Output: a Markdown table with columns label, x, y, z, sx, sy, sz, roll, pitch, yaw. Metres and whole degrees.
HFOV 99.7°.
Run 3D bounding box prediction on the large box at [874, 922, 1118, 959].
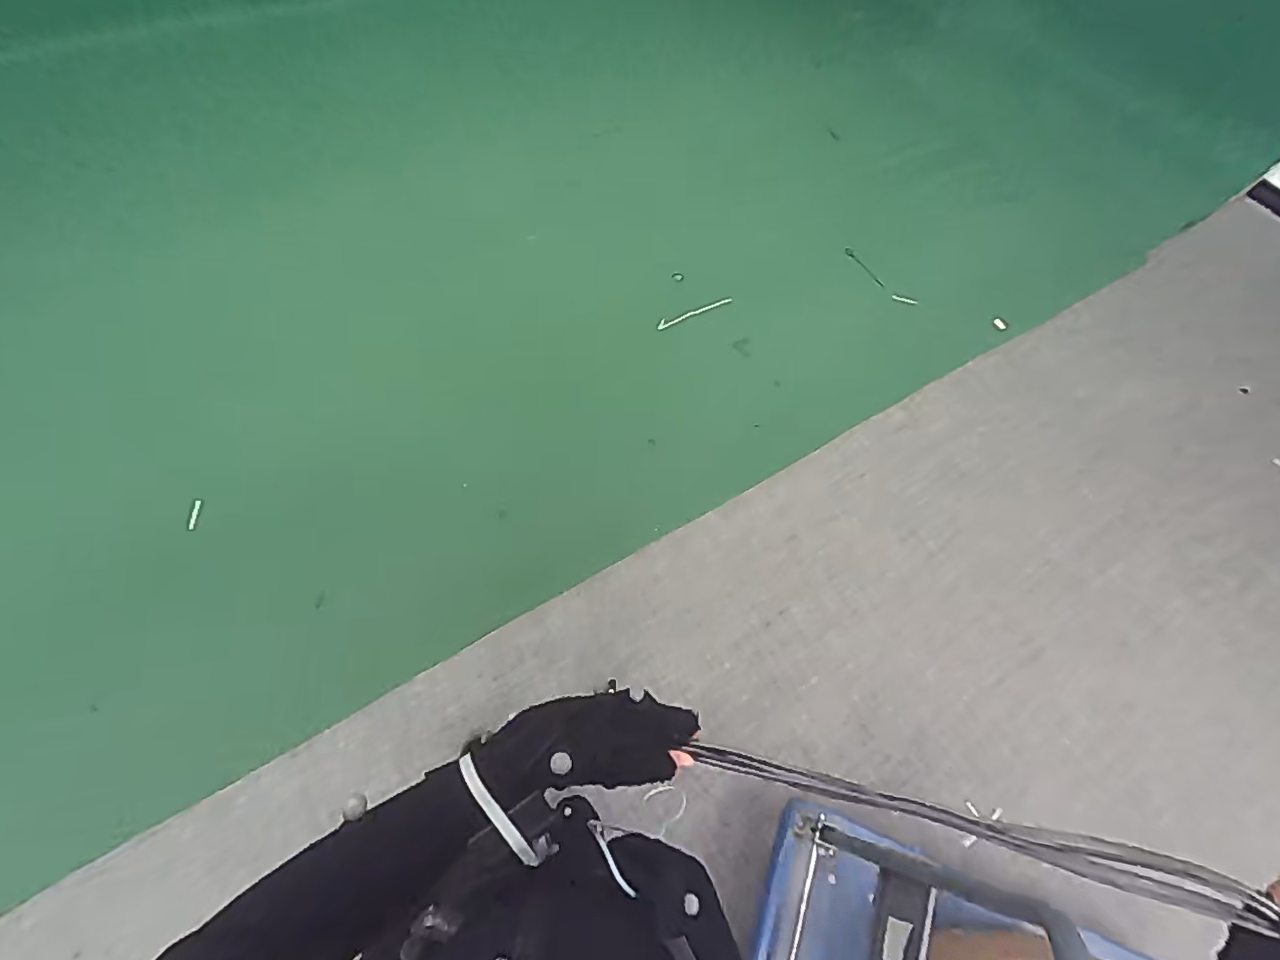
| label | x | y | z | sx | sy | sz | roll | pitch | yaw |
| --- | --- | --- | --- | --- | --- | --- | --- | --- | --- |
| large box | 0.601 | 0.962 | 0.821 | 0.320 | 0.320 | 0.408 | 3 | 62 | -4 |
